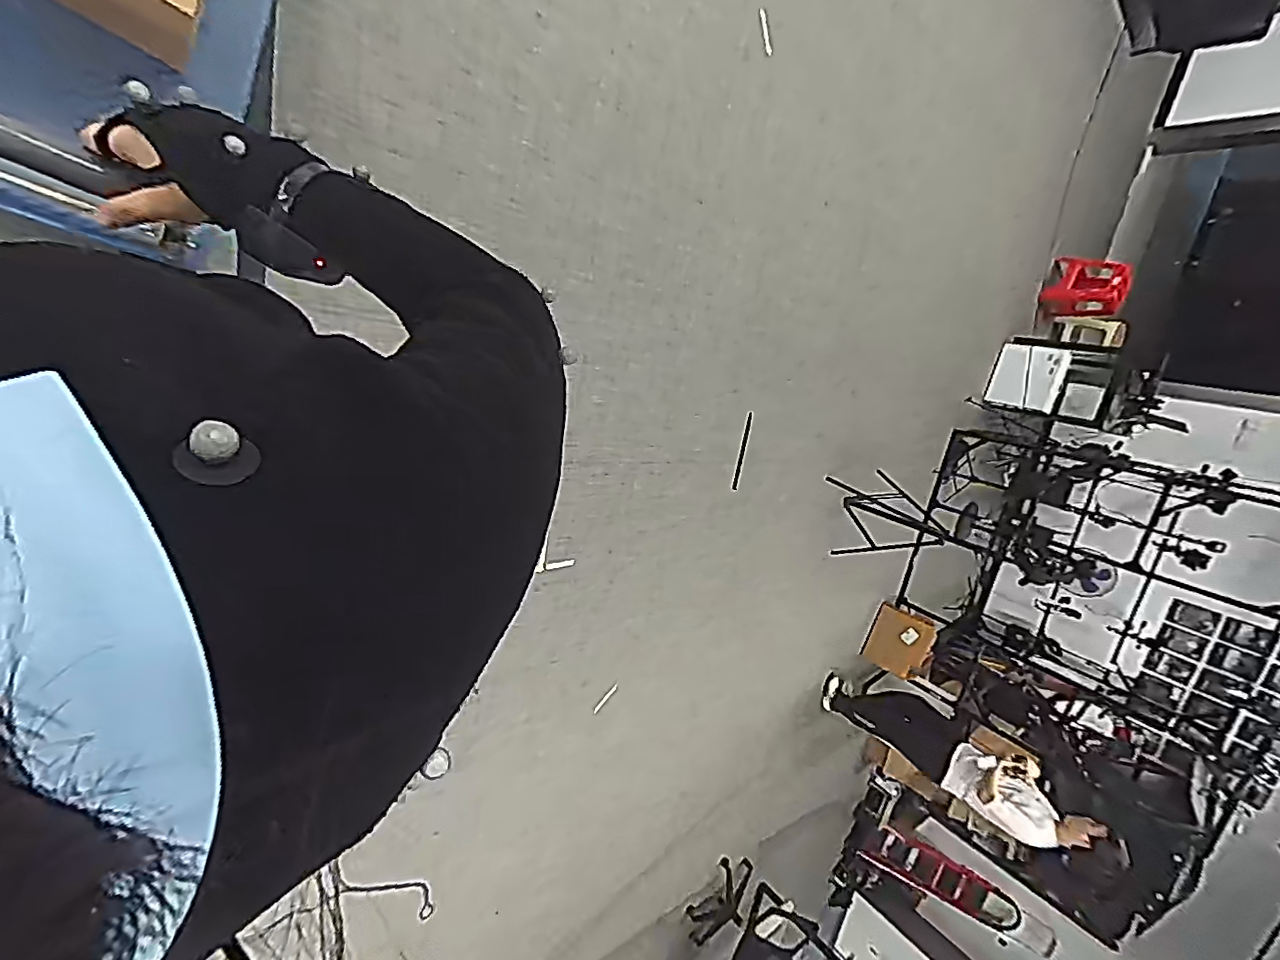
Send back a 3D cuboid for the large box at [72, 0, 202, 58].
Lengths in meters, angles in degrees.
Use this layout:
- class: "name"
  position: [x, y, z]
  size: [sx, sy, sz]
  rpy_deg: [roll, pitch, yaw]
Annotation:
- class: "large box"
  position: [-0.750, -0.820, 0.638]
  size: [0.408, 0.320, 0.320]
  rpy_deg: [15, 97, -44]
